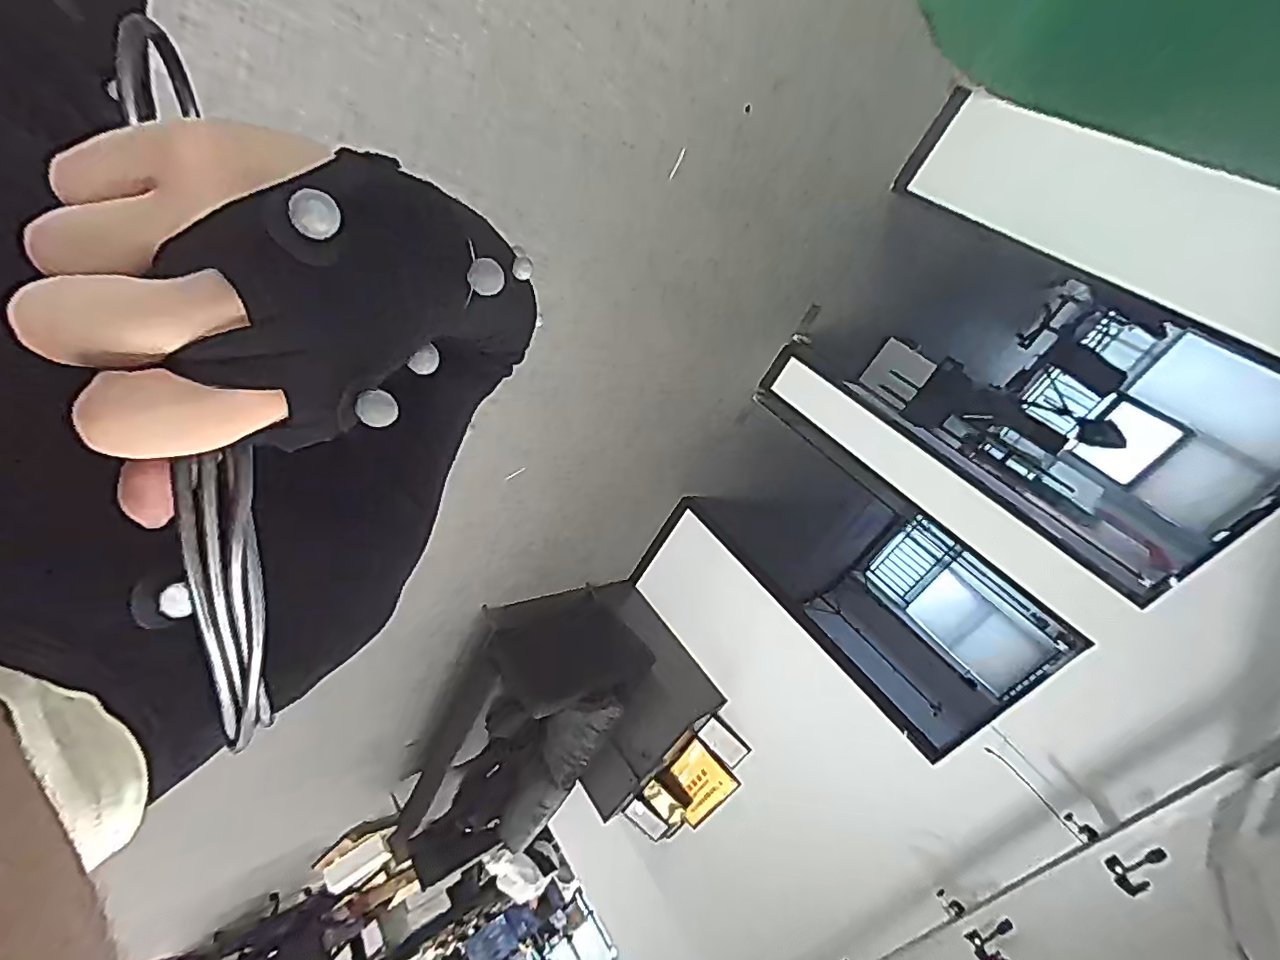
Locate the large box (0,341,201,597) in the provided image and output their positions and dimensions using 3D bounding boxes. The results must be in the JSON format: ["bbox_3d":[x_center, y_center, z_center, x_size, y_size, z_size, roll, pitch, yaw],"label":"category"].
[{"bbox_3d":[-1.163,-0.024,1.118,0.320,0.320,0.408,1,130,-51],"label":"large box"}]
